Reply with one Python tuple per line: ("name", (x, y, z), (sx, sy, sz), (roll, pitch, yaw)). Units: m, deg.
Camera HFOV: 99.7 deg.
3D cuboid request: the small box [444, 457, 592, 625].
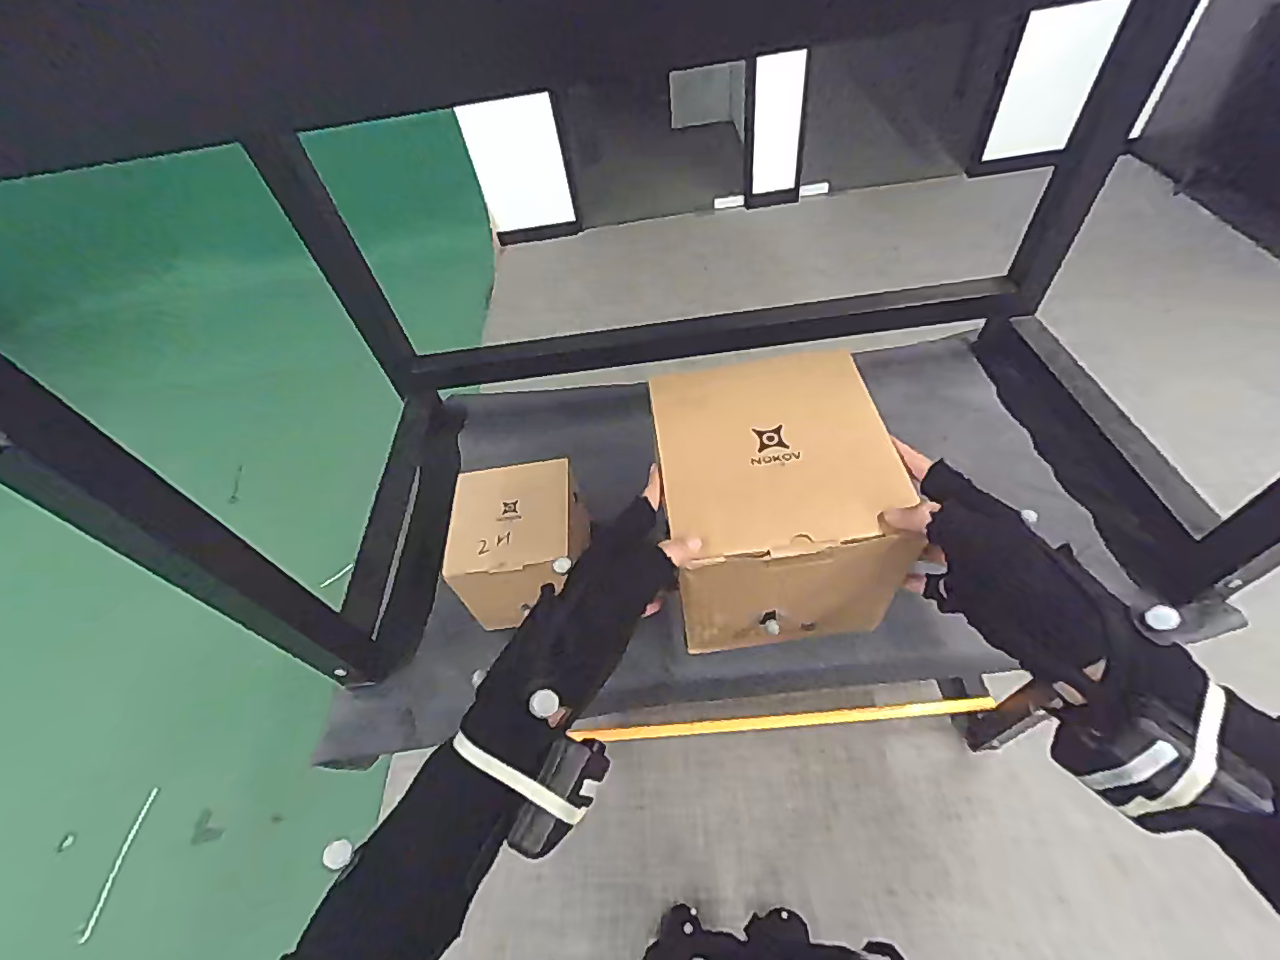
("small box", (-0.167, 0.093, 0.801), (0.168, 0.176, 0.179), (-8, 50, 3))
